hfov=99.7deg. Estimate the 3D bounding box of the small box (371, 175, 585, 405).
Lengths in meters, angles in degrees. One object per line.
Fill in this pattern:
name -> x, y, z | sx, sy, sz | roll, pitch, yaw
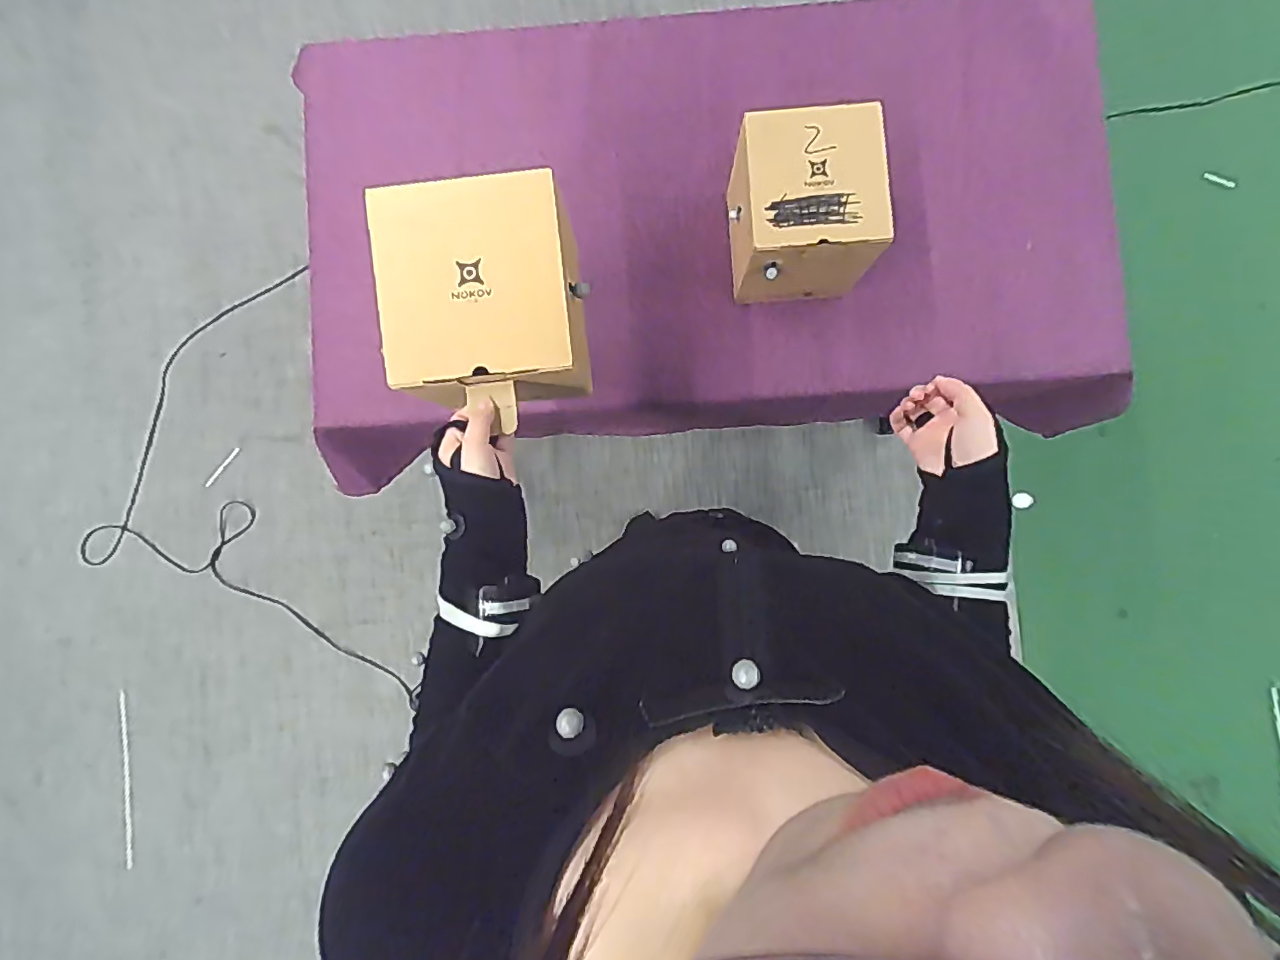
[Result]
small box -> -0.153, -0.181, 0.564 | 0.168, 0.176, 0.179 | -6, 92, 0
